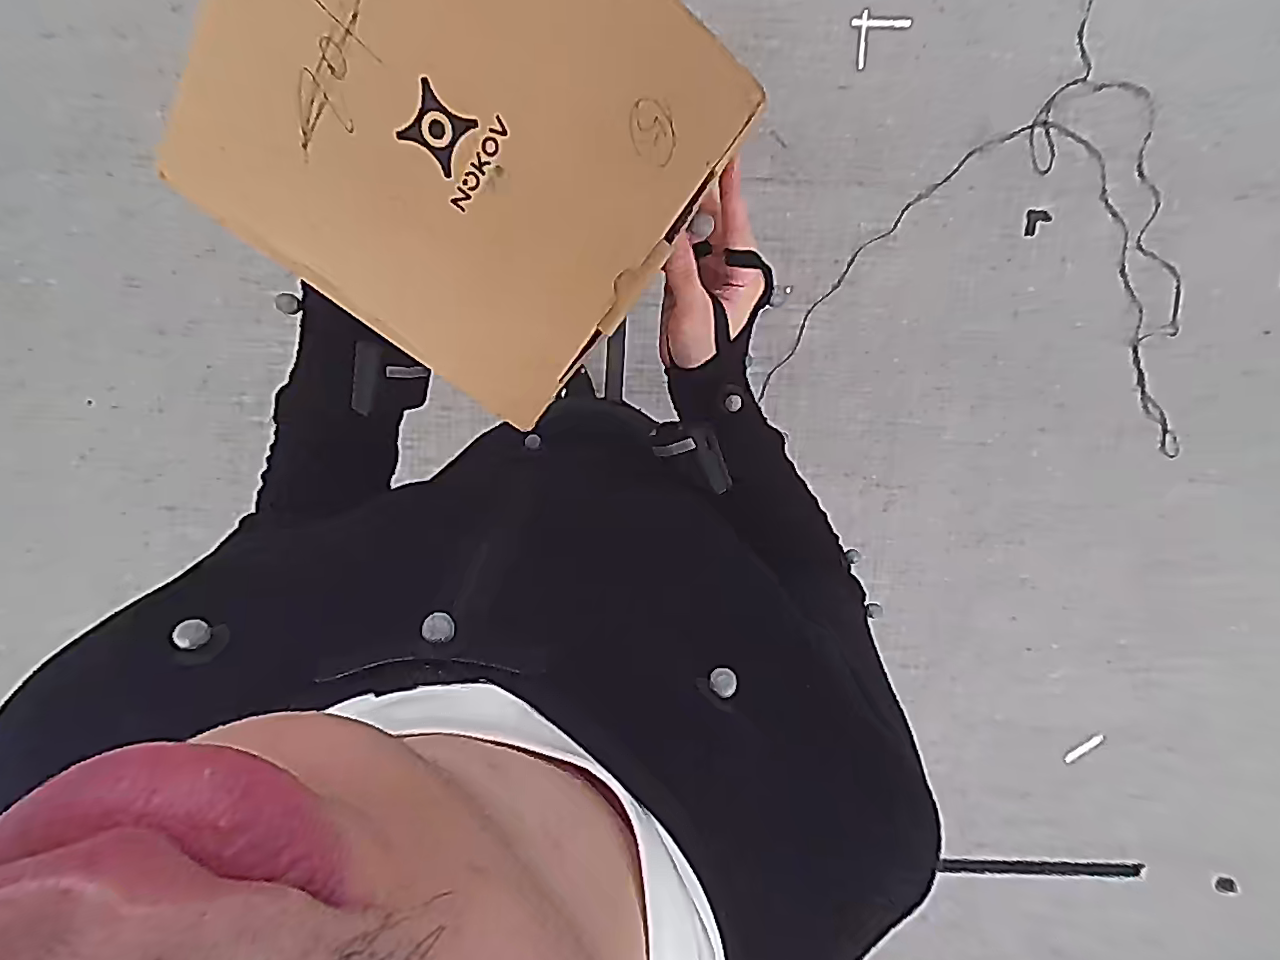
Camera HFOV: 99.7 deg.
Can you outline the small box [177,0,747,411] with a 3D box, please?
[{"bbox_3d":[-0.070,-0.171,0.284,0.179,0.176,0.168,35,112,-13],"label":"small box"}]
